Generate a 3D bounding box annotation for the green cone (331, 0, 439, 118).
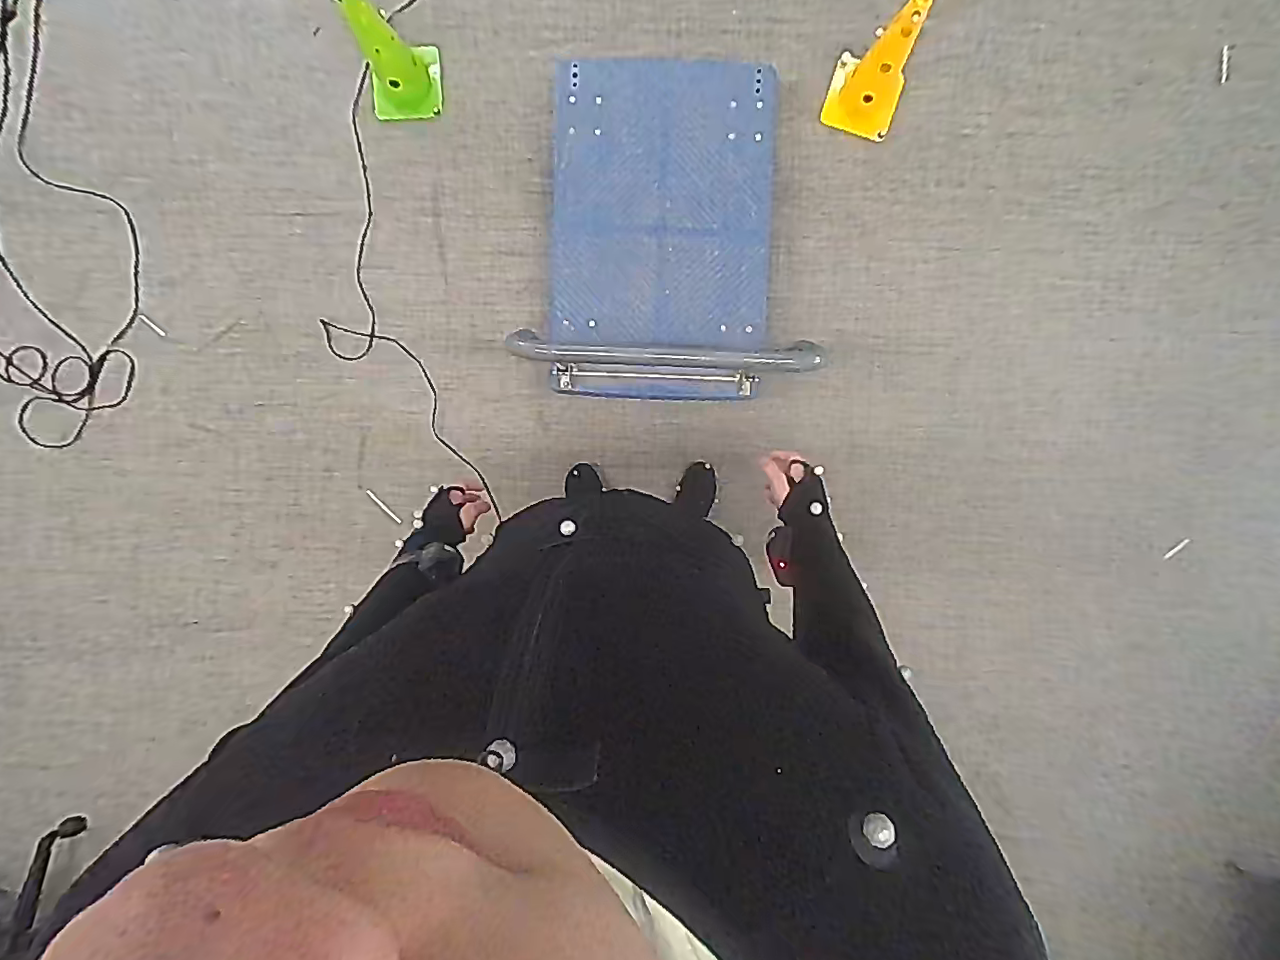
[{"bbox_3d":[-0.698,-1.159,1.406,0.202,0.368,0.200,-3,93,3],"label":"green cone"}]
